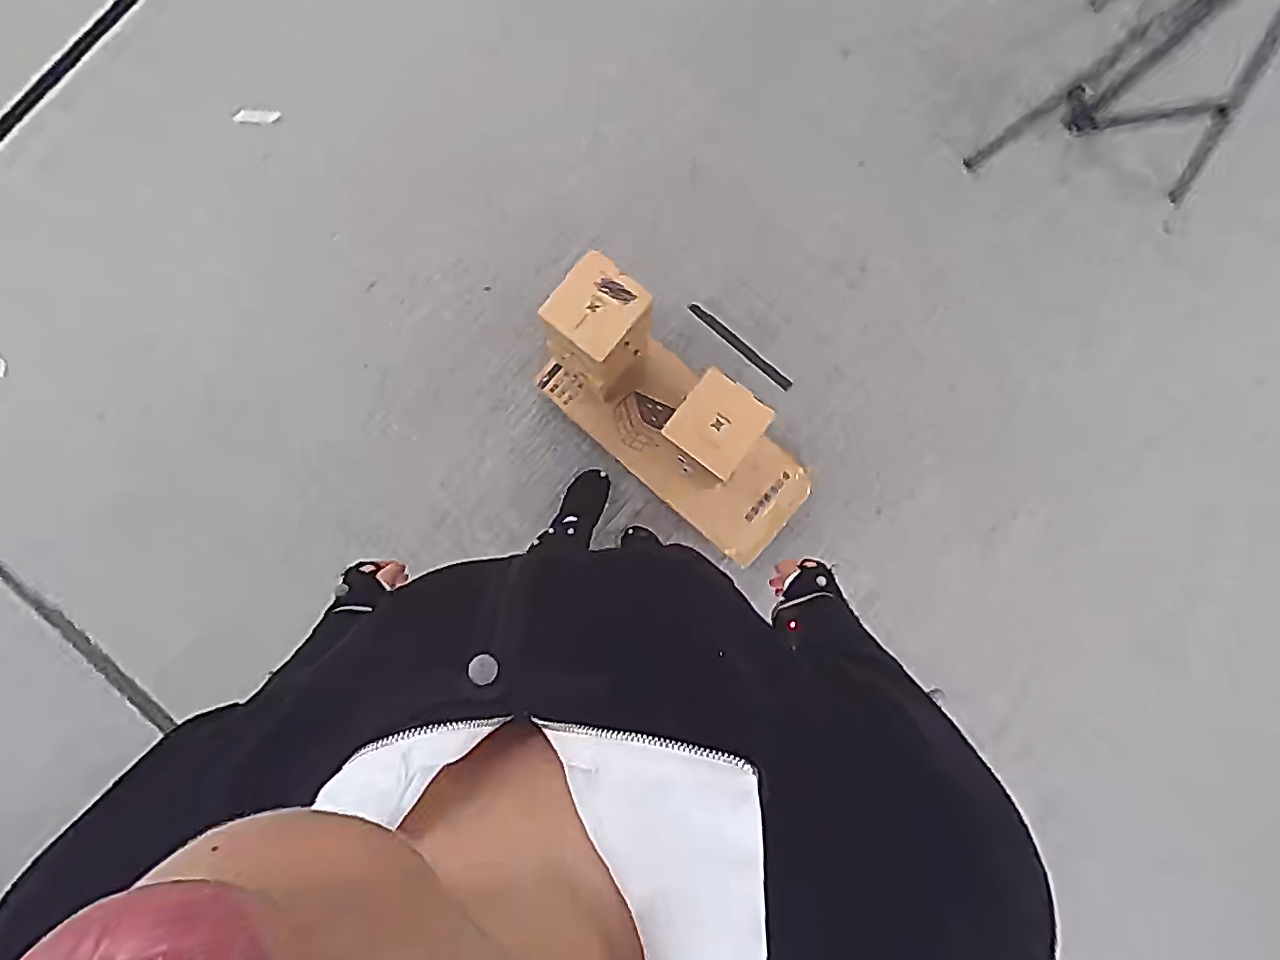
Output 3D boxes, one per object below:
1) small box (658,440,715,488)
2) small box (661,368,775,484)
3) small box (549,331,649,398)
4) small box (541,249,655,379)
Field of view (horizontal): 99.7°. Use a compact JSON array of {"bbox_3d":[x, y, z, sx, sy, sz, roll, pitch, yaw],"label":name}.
[{"bbox_3d":[0.162,-0.093,1.320,0.168,0.176,0.179,41,89,3],"label":"small box"},{"bbox_3d":[0.155,-0.107,1.156,0.168,0.176,0.179,38,88,2],"label":"small box"},{"bbox_3d":[-0.098,-0.326,1.324,0.168,0.176,0.179,42,88,1],"label":"small box"},{"bbox_3d":[-0.087,-0.346,1.161,0.168,0.176,0.179,40,88,1],"label":"small box"}]
